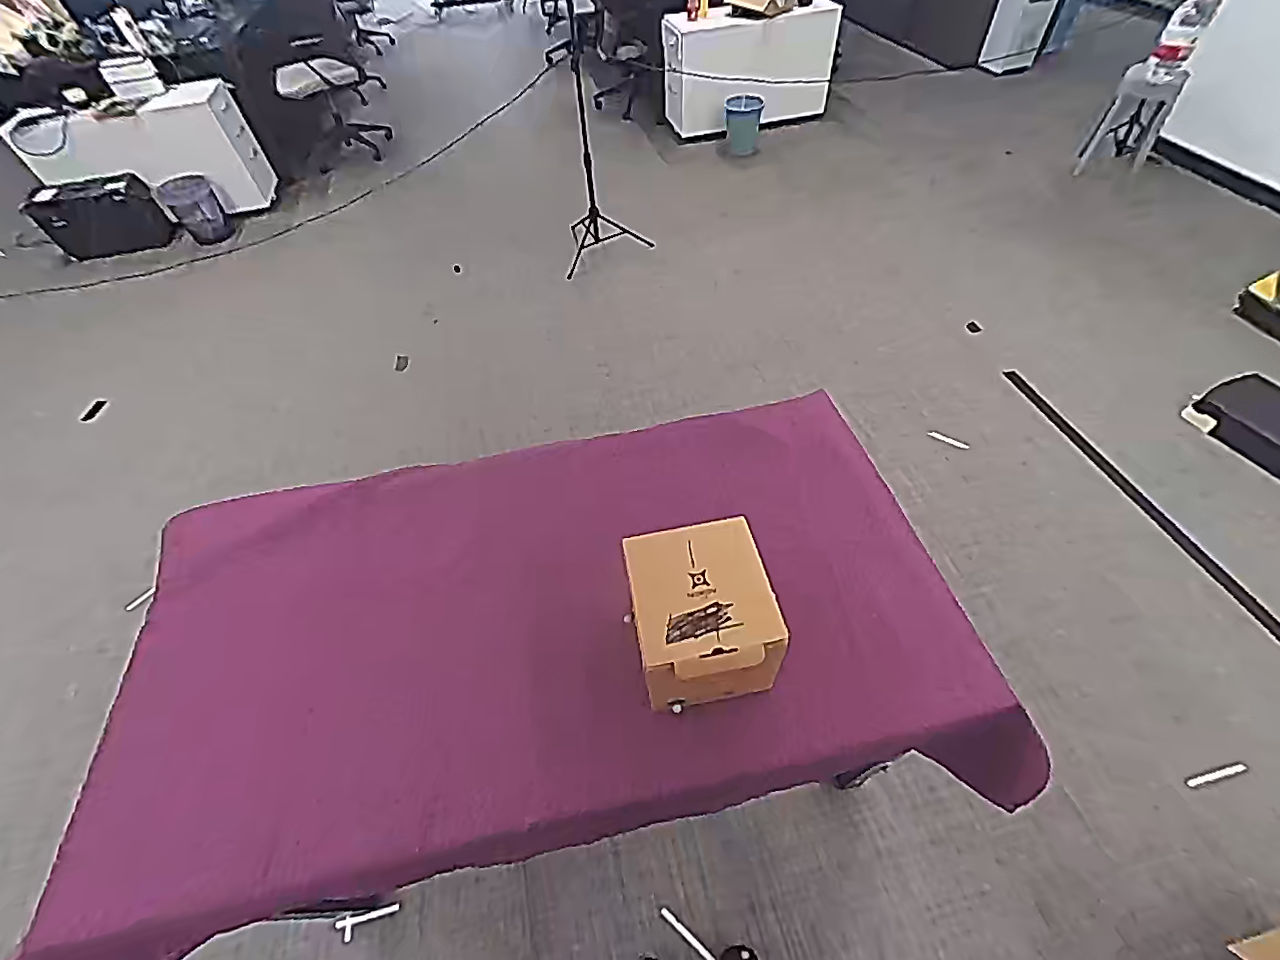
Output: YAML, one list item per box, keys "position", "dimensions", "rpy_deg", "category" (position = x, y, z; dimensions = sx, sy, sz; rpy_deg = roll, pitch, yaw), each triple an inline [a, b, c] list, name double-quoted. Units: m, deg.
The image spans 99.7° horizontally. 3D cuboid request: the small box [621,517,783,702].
- position: [0.074, 0.177, 0.713]
  dimensions: [0.168, 0.176, 0.179]
  rpy_deg: [-10, 51, -3]
  category: "small box"
